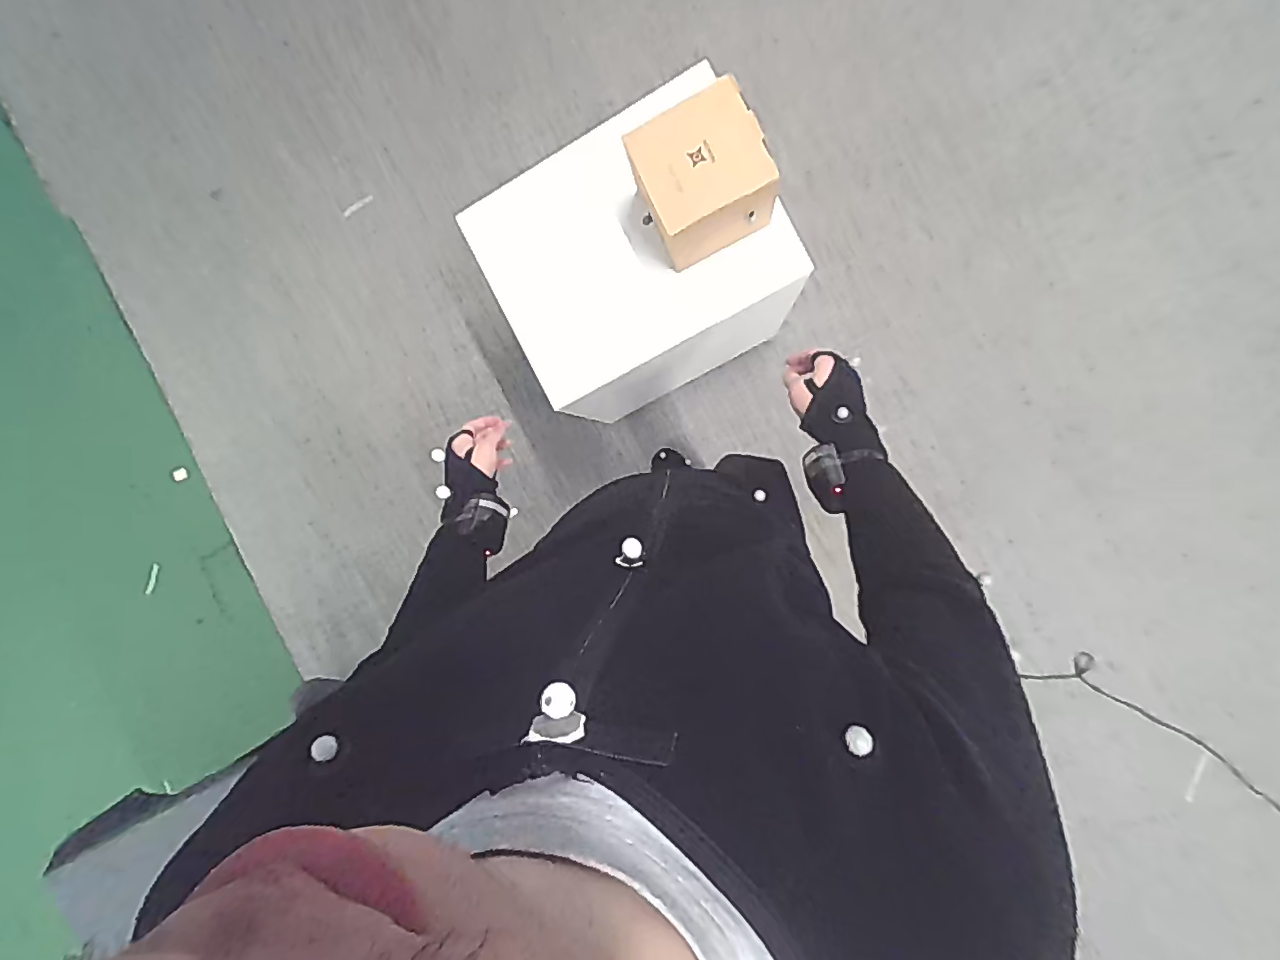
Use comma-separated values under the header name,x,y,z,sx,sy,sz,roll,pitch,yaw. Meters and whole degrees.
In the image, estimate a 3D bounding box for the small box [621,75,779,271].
name,x,y,z,sx,sy,sz,roll,pitch,yaw
small box,0.094,-0.455,0.834,0.179,0.176,0.168,-26,89,10
